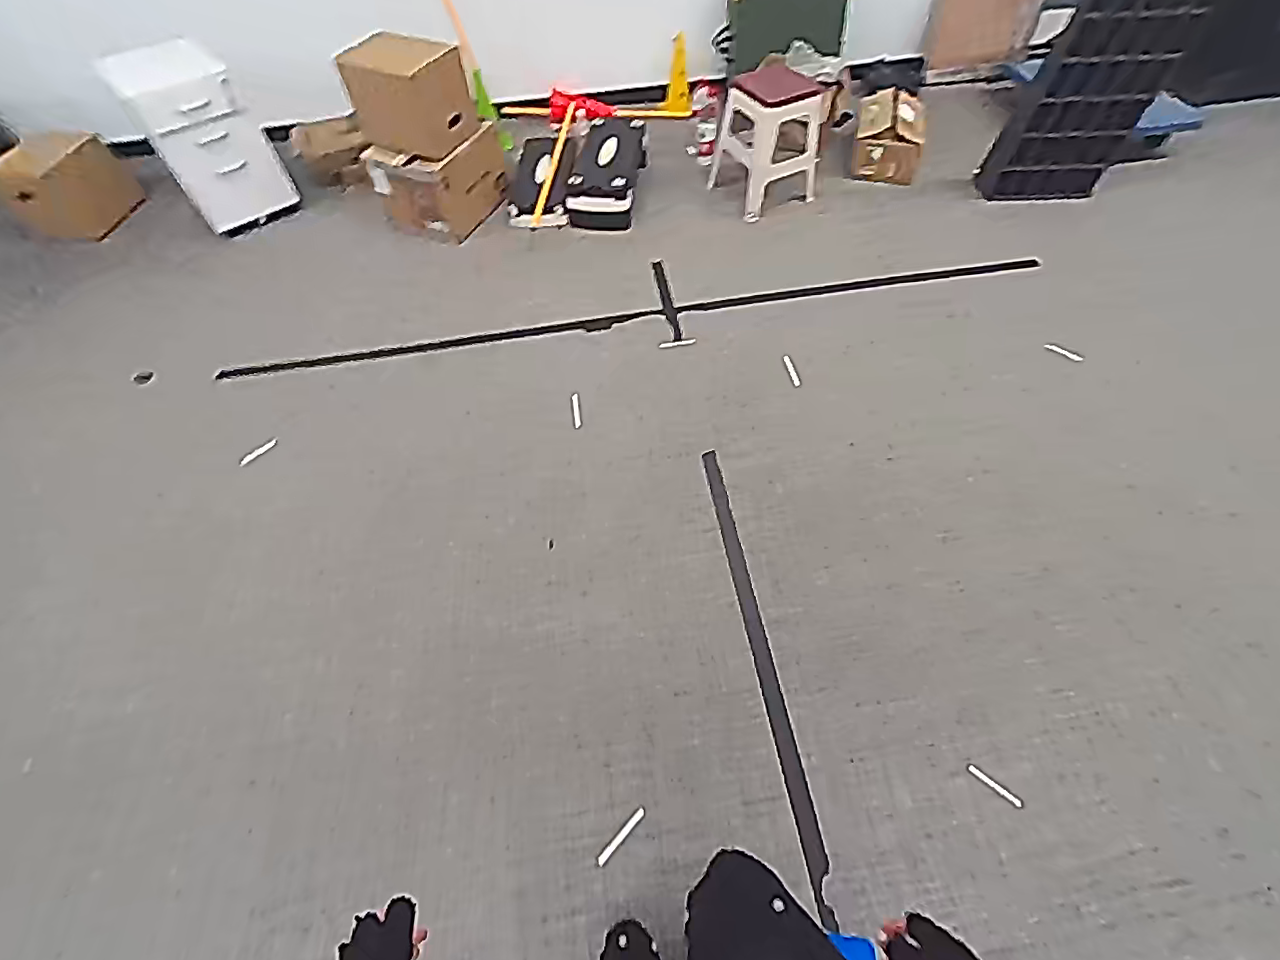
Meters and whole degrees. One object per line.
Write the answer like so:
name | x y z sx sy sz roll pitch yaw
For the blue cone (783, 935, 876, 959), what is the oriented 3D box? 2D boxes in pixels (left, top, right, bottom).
blue cone | 0.369 0.909 0.902 0.192 0.380 0.193 6 56 5
